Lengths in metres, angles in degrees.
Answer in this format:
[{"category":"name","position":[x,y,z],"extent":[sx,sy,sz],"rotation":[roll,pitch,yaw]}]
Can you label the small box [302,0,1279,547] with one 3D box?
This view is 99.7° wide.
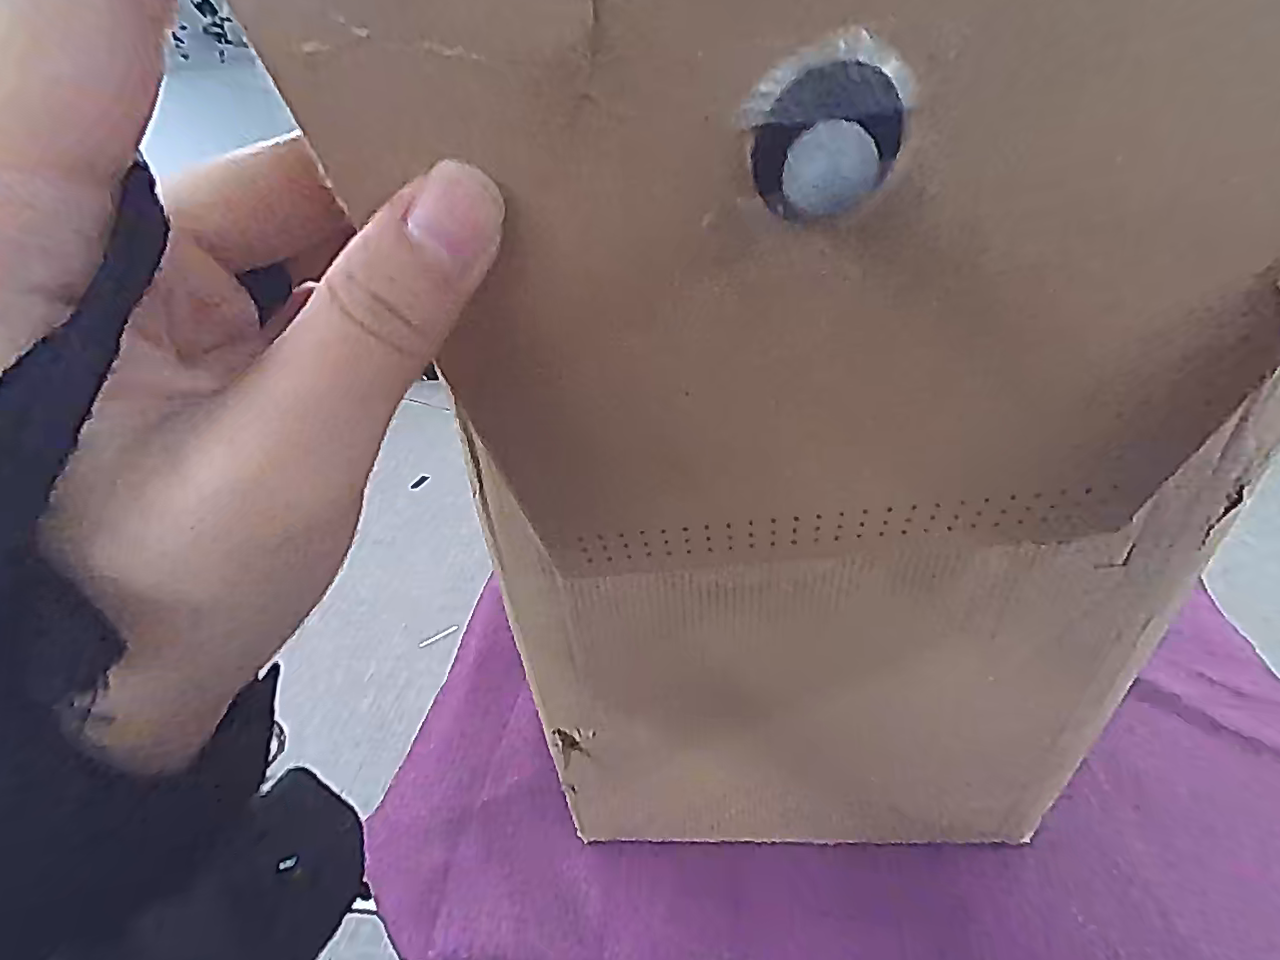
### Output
[{"category":"small box","position":[0.045,-0.093,0.160],"extent":[0.179,0.176,0.168],"rotation":[-6,51,7]}]
